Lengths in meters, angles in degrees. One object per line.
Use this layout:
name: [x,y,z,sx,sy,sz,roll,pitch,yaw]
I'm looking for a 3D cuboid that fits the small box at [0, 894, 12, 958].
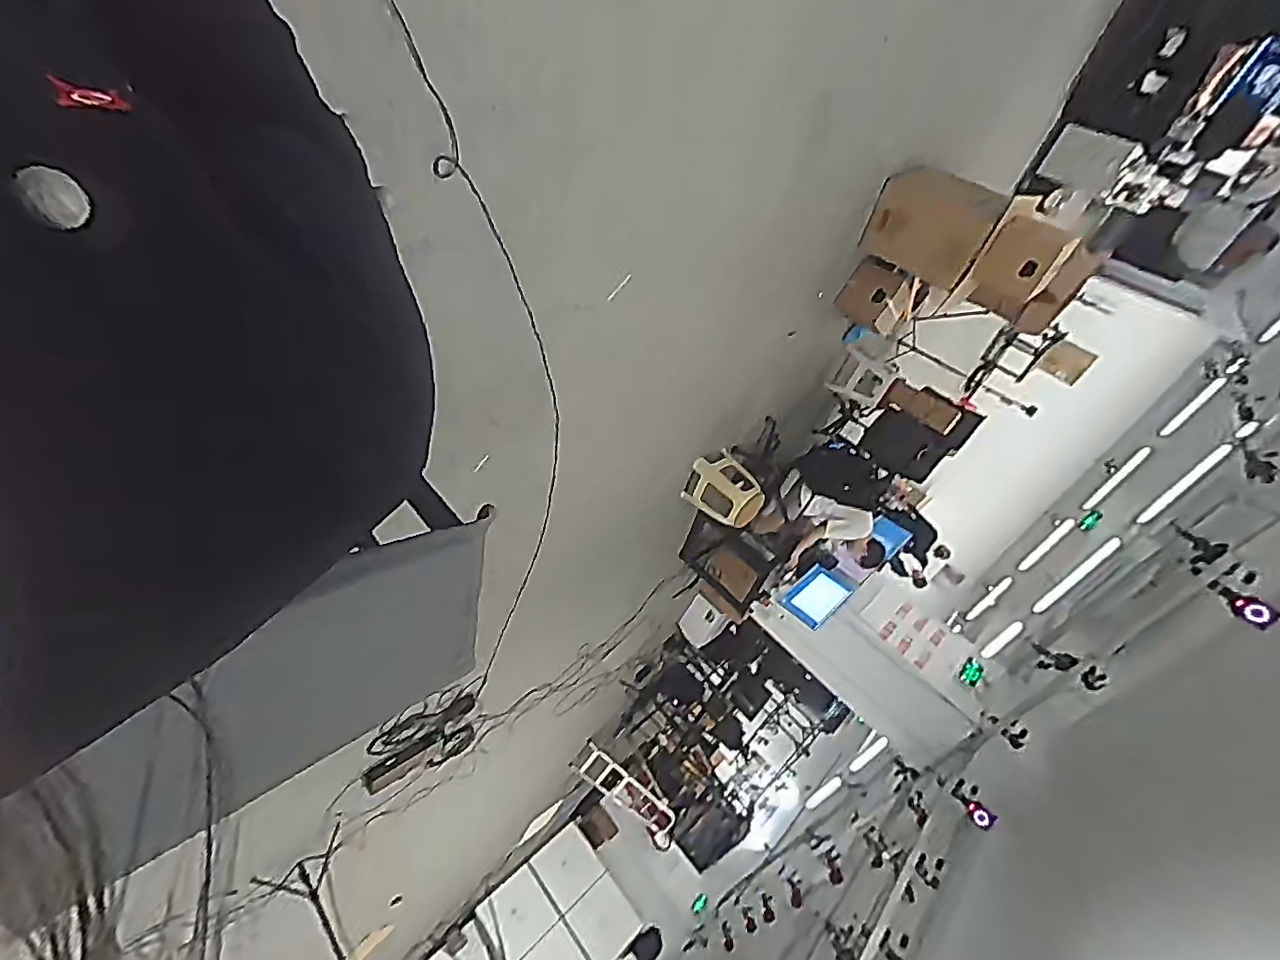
small box: [-0.982,0.583,0.700,0.168,0.176,0.179,-26,145,-42]
